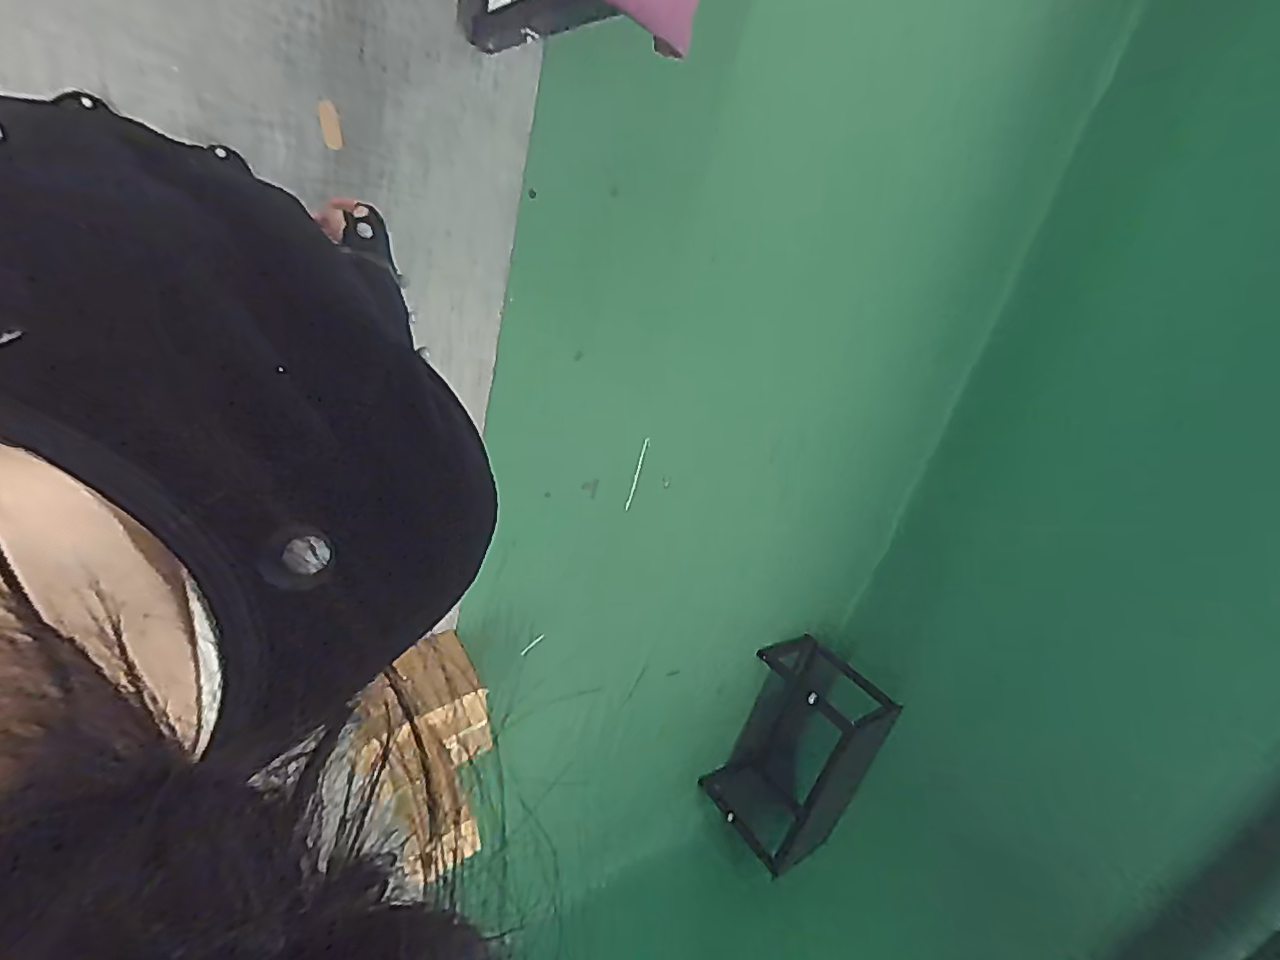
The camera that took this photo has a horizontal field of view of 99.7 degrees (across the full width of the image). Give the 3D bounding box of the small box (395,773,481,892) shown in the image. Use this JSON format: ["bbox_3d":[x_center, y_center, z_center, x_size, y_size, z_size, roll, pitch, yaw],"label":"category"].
[{"bbox_3d":[-0.554,0.954,1.477,0.179,0.176,0.168,-18,125,-31],"label":"small box"}]

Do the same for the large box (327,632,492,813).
[{"bbox_3d":[-0.755,0.780,1.791,0.408,0.320,0.320,-18,127,-33],"label":"large box"}]

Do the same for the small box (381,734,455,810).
[{"bbox_3d":[-0.646,0.882,1.592,0.168,0.176,0.179,-16,124,-32],"label":"small box"}]
